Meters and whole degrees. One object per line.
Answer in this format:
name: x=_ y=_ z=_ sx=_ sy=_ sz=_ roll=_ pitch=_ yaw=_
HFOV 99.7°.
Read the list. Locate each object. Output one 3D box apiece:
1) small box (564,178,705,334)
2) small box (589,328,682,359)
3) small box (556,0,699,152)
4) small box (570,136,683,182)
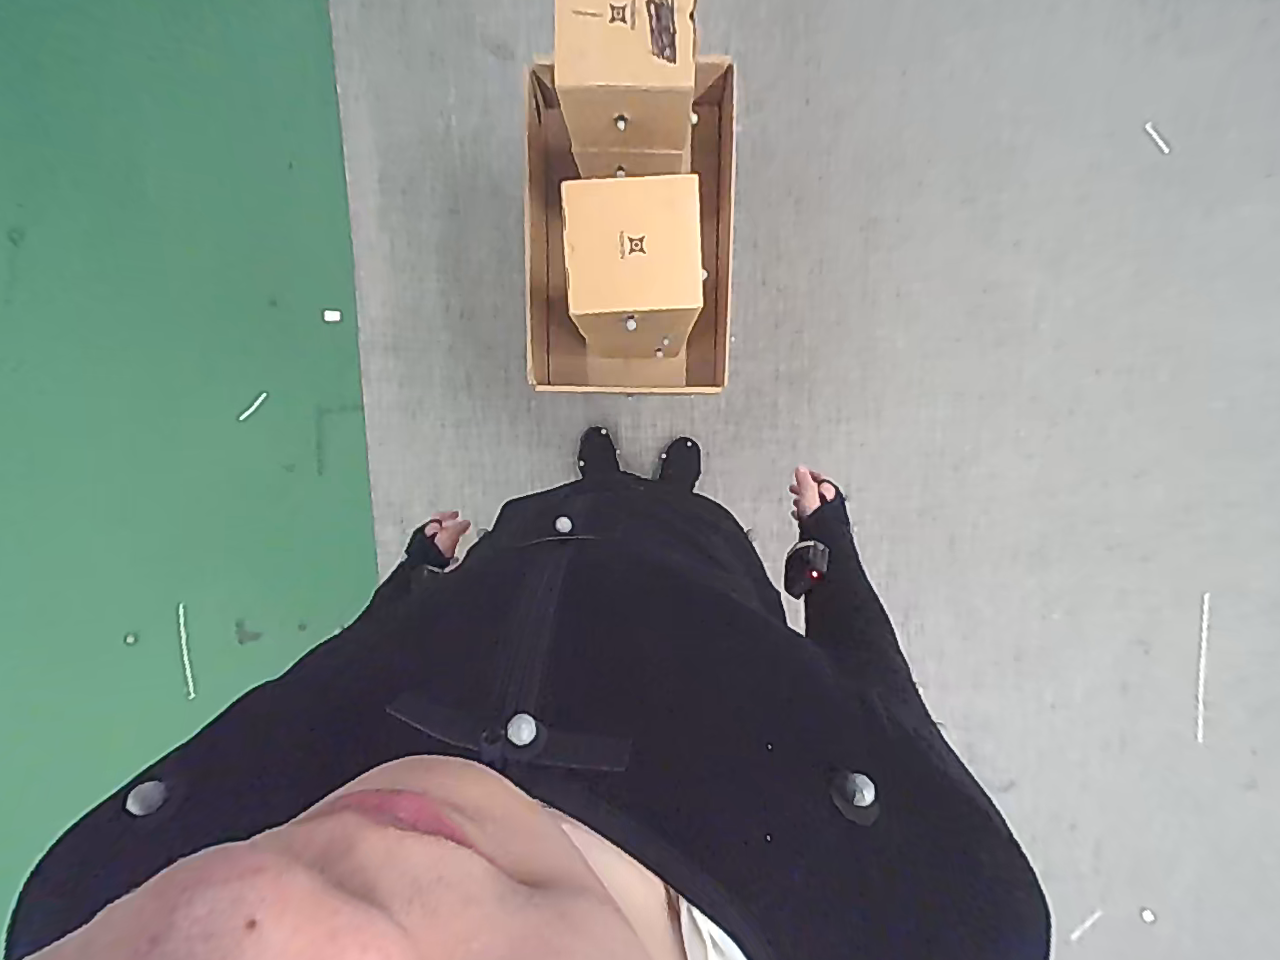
small box: x=-0.007 y=-0.306 z=0.768 sx=0.179 sy=0.176 sz=0.168 roll=-3 pitch=96 yaw=1
small box: x=-0.010 y=-0.339 z=1.092 sx=0.179 sy=0.176 sz=0.168 roll=-1 pitch=95 yaw=0
small box: x=-0.016 y=-0.575 z=0.740 sx=0.179 sy=0.176 sz=0.168 roll=1 pitch=97 yaw=1
small box: x=-0.016 y=-0.595 z=0.904 sx=0.179 sy=0.176 sz=0.168 roll=2 pitch=98 yaw=1
